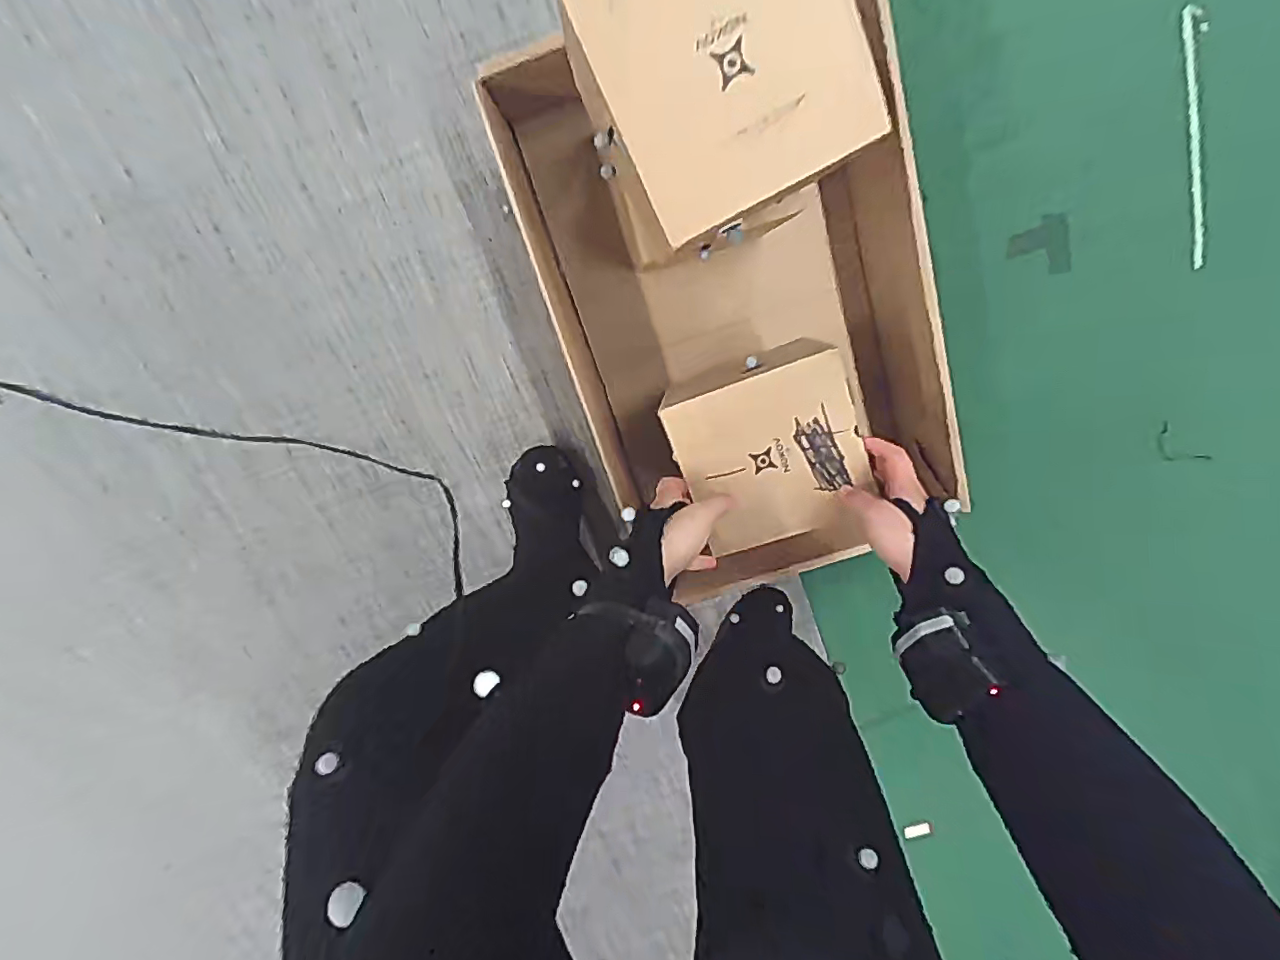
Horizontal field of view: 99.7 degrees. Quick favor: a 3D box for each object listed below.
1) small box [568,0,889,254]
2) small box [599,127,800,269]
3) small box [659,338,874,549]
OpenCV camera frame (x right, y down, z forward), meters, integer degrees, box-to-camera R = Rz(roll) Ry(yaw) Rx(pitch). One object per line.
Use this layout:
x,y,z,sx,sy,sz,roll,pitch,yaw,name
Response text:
0.056,-0.297,0.421,0.168,0.176,0.179,-25,108,8,small box
0.053,-0.342,0.579,0.168,0.176,0.179,-16,107,4,small box
0.130,-0.050,0.600,0.179,0.176,0.168,-17,105,11,small box
